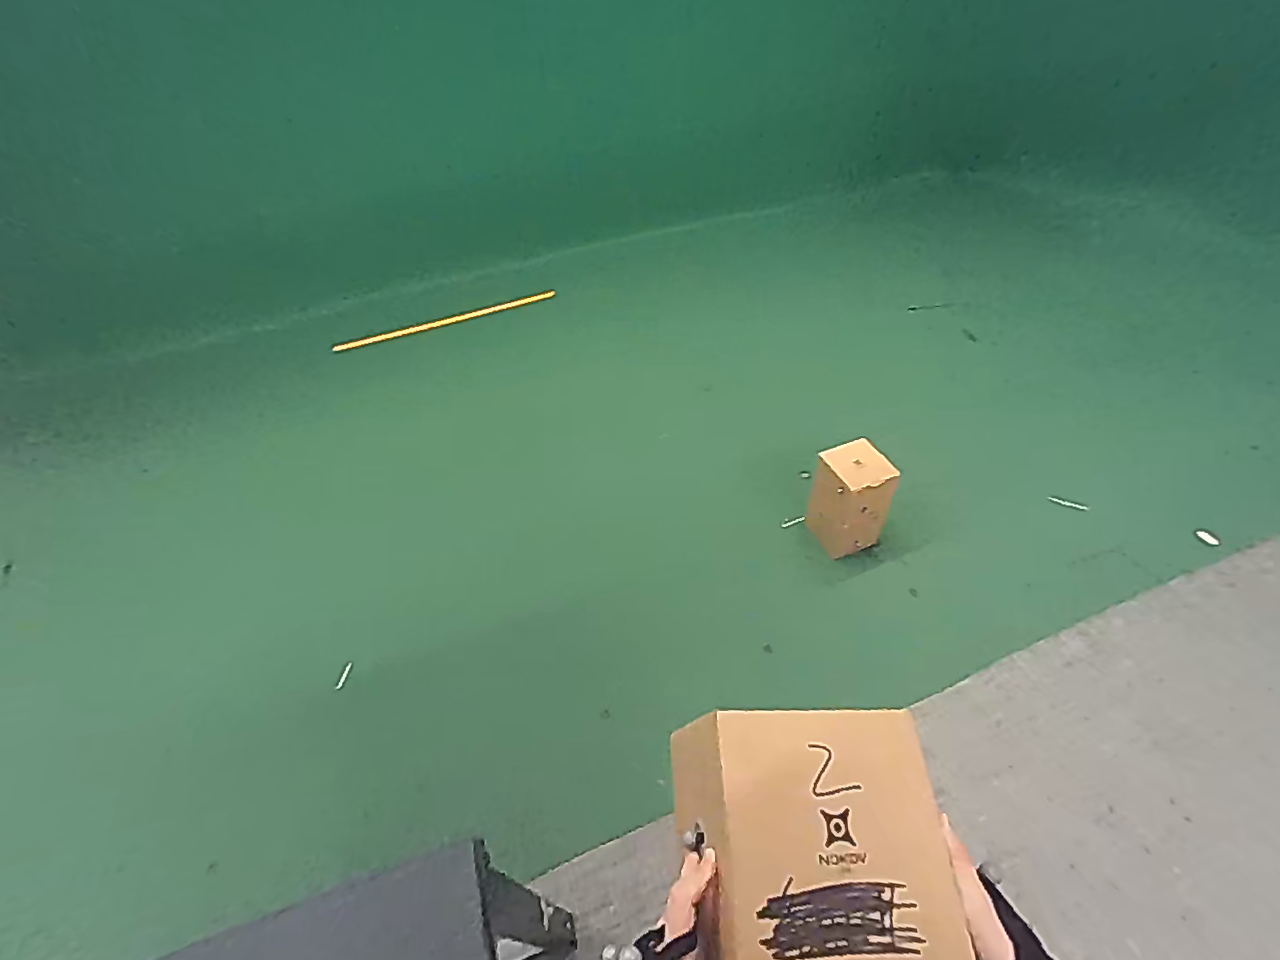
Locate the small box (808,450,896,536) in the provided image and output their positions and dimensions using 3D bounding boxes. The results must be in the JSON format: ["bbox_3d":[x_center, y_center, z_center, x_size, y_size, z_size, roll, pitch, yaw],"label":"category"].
[{"bbox_3d":[0.639,0.041,1.653,0.168,0.176,0.179,-17,47,-13],"label":"small box"}]

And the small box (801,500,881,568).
[{"bbox_3d":[0.648,0.157,1.767,0.168,0.176,0.179,-17,47,-11],"label":"small box"}]
